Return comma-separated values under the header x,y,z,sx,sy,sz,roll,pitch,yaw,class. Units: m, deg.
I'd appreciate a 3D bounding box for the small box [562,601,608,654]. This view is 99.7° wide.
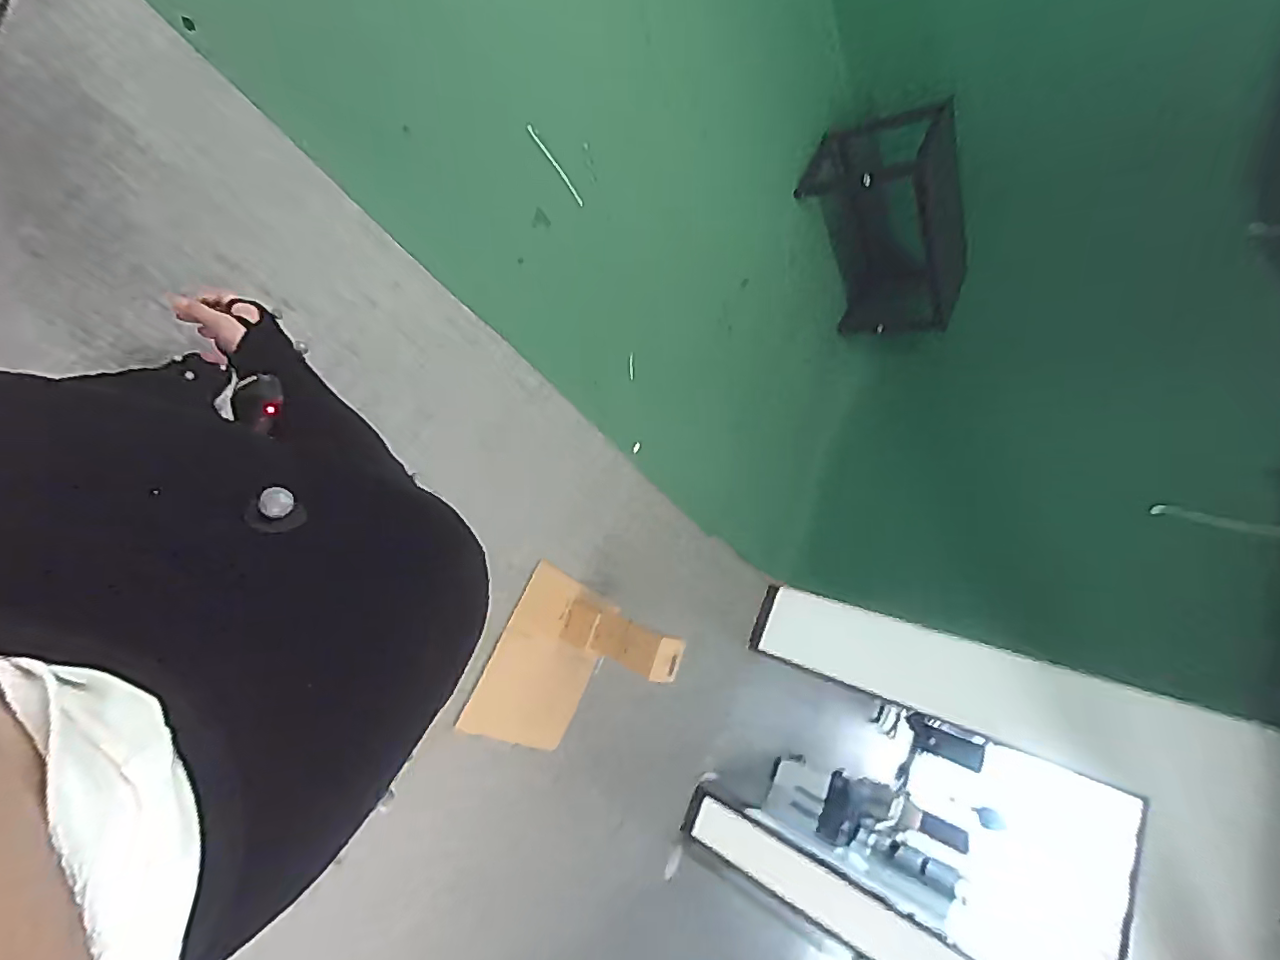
x,y,z,sx,sy,sz,roll,pitch,yaw,class
-0.203,0.637,2.337,0.179,0.176,0.168,33,74,-48,small box

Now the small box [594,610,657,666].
x,y,z,sx,sy,sz,roll,pitch,yaw,class
-0.064,0.653,2.247,0.179,0.176,0.168,34,74,-49,small box
